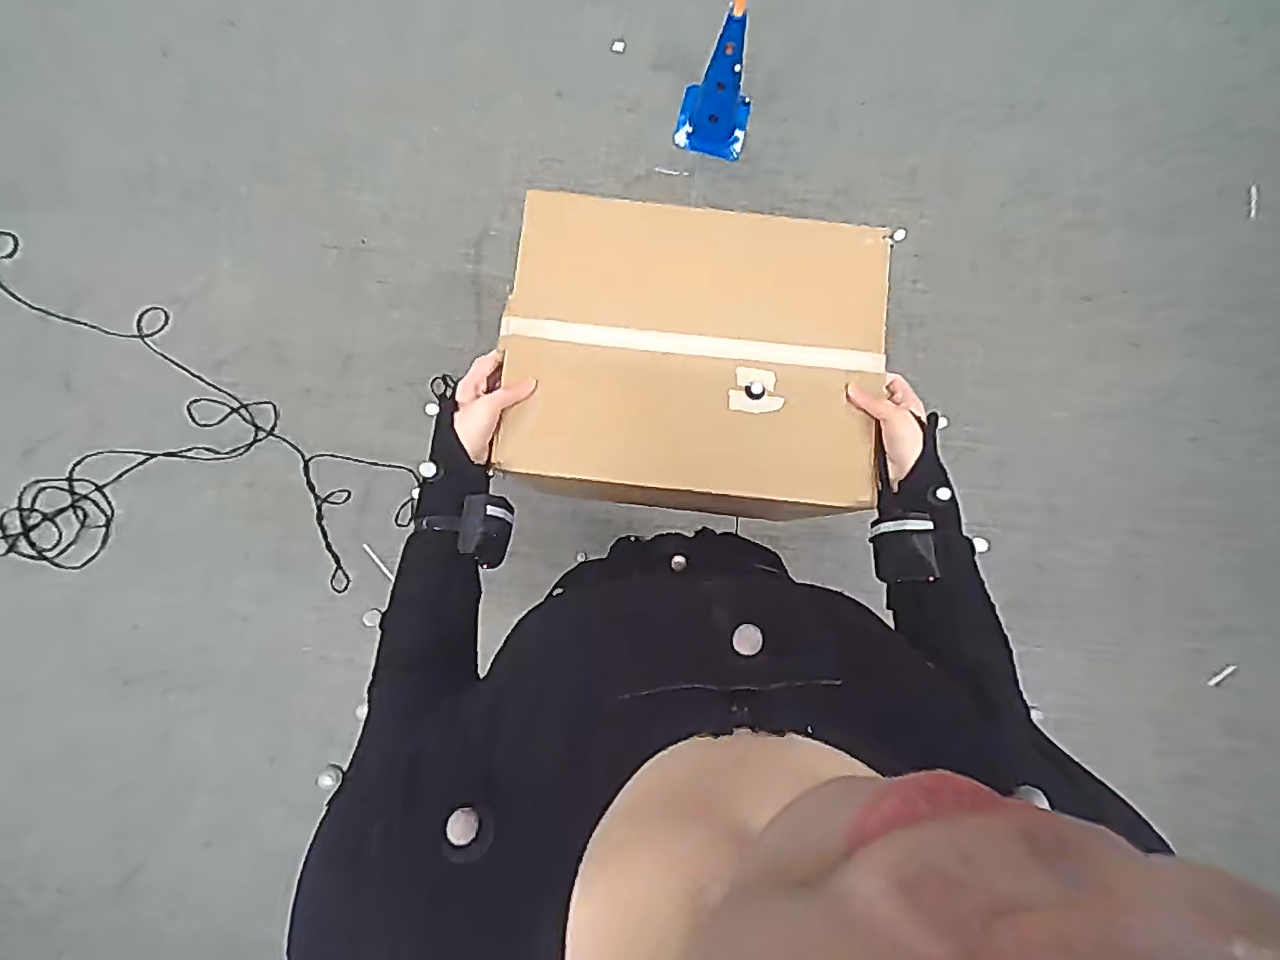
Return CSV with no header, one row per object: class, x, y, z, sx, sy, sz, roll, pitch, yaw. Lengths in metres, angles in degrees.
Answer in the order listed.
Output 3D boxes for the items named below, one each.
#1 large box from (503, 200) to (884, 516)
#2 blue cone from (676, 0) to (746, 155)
large box,0.059,-0.127,0.734,0.408,0.320,0.320,6,84,-1
blue cone,0.216,-1.072,1.432,0.193,0.380,0.192,15,85,-1
